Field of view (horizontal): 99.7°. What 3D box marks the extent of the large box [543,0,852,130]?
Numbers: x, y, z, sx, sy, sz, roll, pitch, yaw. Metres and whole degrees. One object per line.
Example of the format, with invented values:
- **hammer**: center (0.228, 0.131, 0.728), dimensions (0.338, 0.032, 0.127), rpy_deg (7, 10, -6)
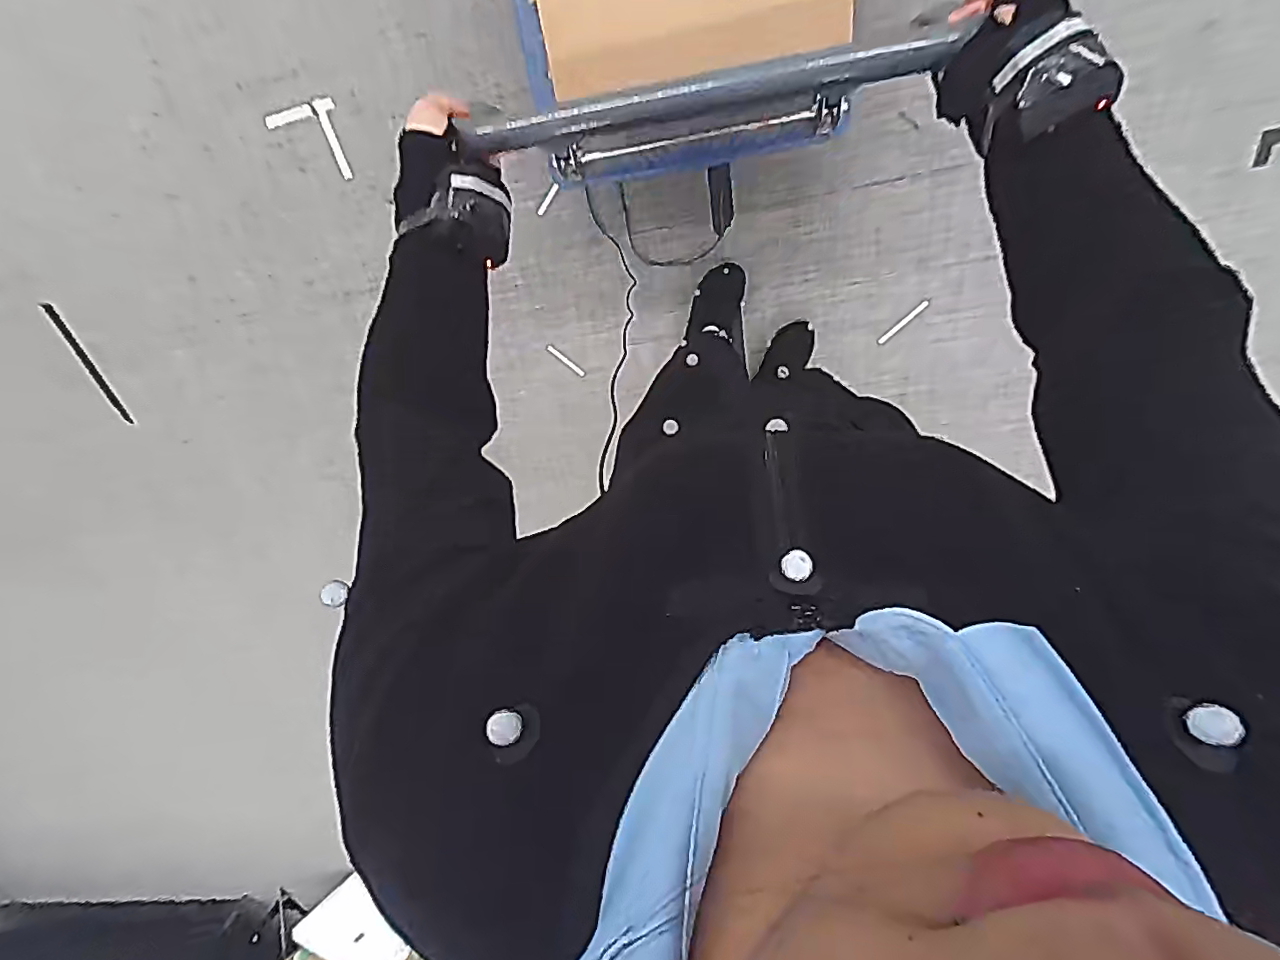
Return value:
- **large box**: center (0.068, -0.755, 0.807), dimensions (0.408, 0.320, 0.320), rpy_deg (-7, 119, 8)
